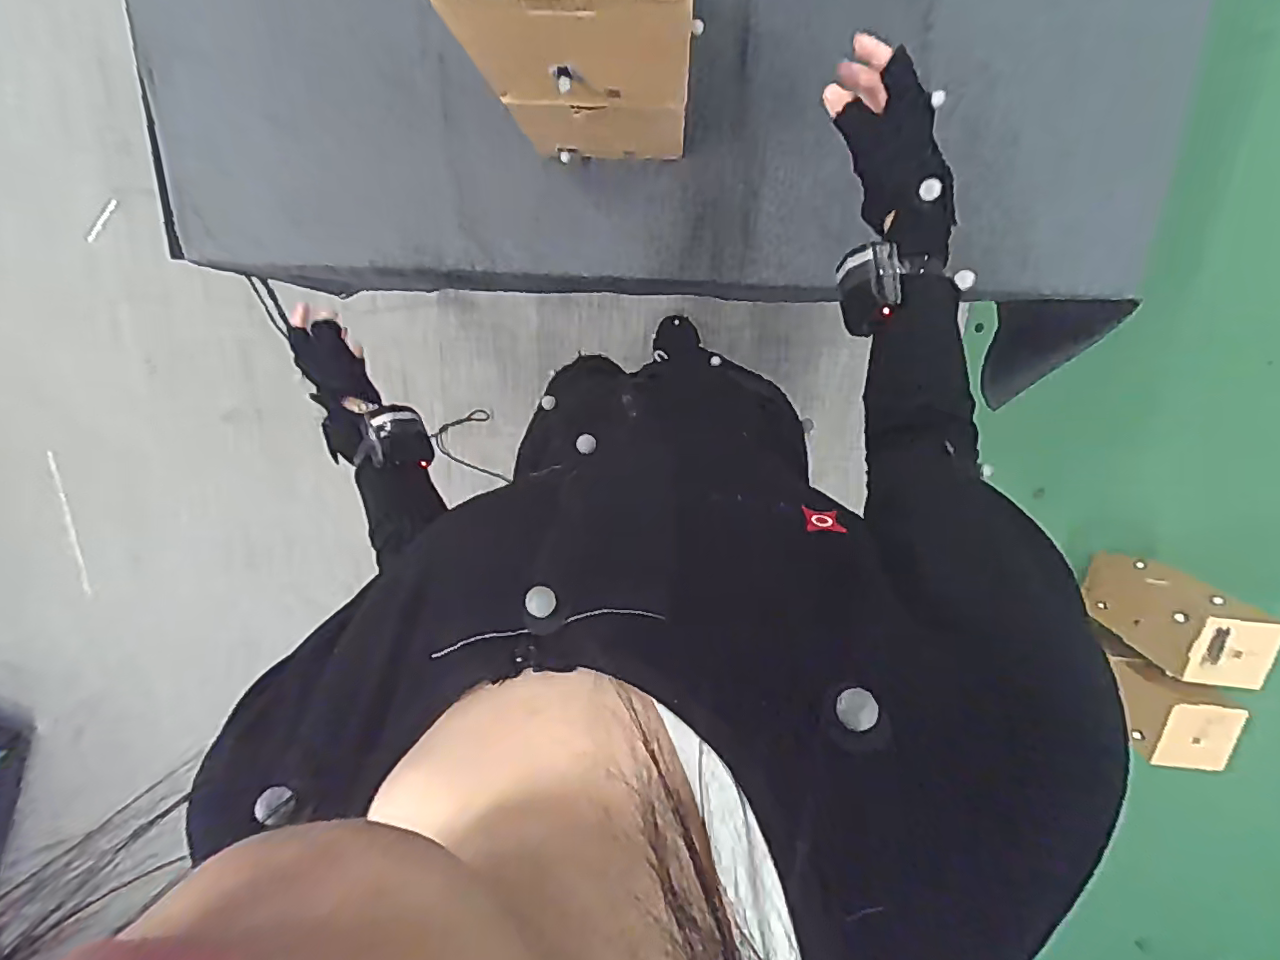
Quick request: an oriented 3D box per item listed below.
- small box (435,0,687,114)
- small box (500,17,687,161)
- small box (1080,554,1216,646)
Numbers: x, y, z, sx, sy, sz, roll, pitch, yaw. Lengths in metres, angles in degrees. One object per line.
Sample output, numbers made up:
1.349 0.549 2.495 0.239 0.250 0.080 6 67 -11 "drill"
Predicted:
-0.046 -0.396 0.387 0.168 0.176 0.179 3 106 2 "small box"
-0.038 -0.440 0.543 0.168 0.176 0.179 3 104 3 "small box"
1.317 0.307 1.420 0.179 0.176 0.168 8 106 2 "small box"
